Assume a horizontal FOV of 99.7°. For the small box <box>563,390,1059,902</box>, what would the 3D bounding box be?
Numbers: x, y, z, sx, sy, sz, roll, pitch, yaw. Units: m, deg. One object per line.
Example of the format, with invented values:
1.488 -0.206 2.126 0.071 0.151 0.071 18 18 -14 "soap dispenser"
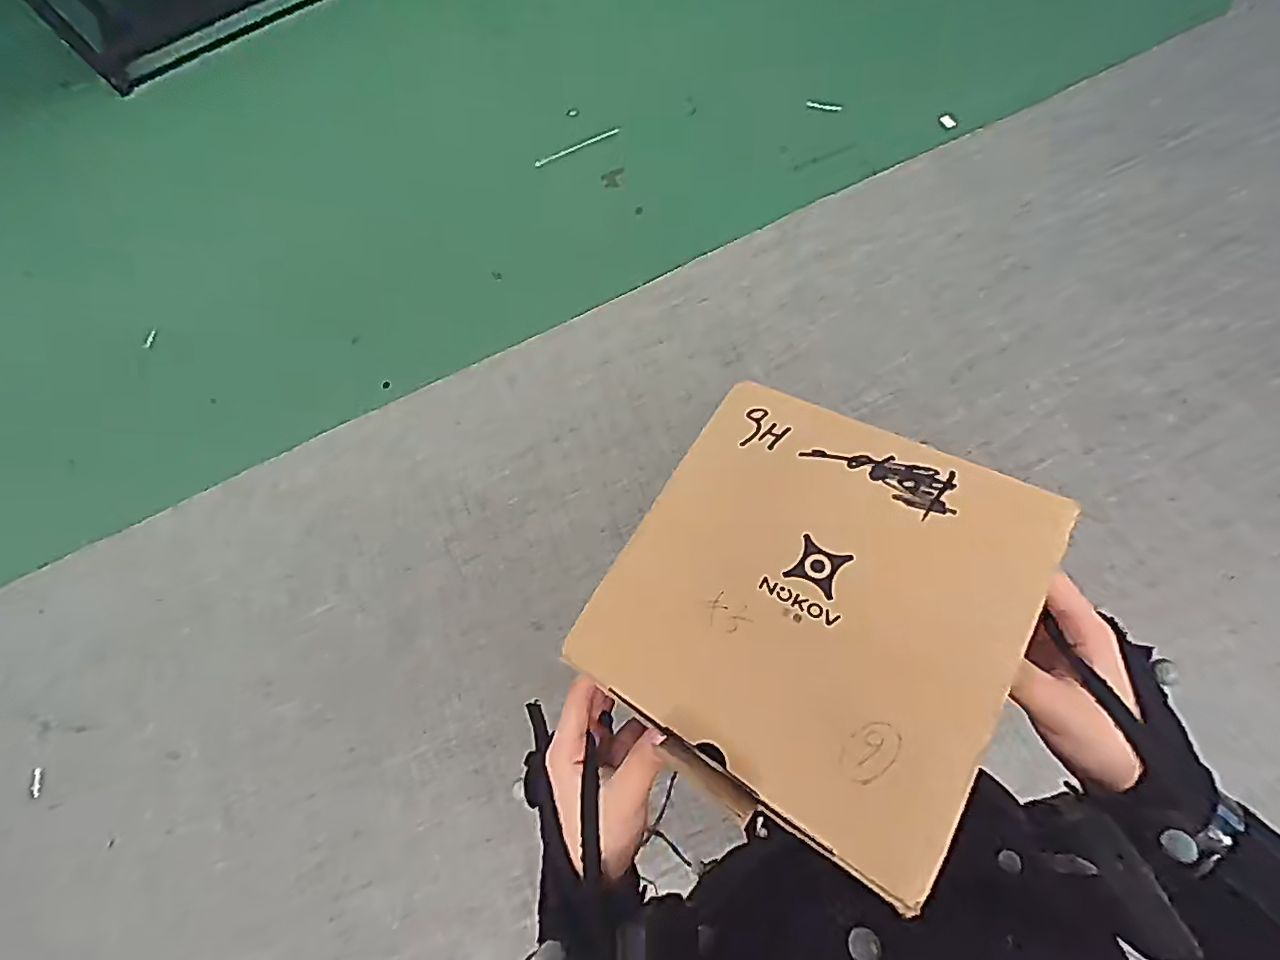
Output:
0.091 0.086 0.316 0.168 0.176 0.179 27 73 25 "small box"
